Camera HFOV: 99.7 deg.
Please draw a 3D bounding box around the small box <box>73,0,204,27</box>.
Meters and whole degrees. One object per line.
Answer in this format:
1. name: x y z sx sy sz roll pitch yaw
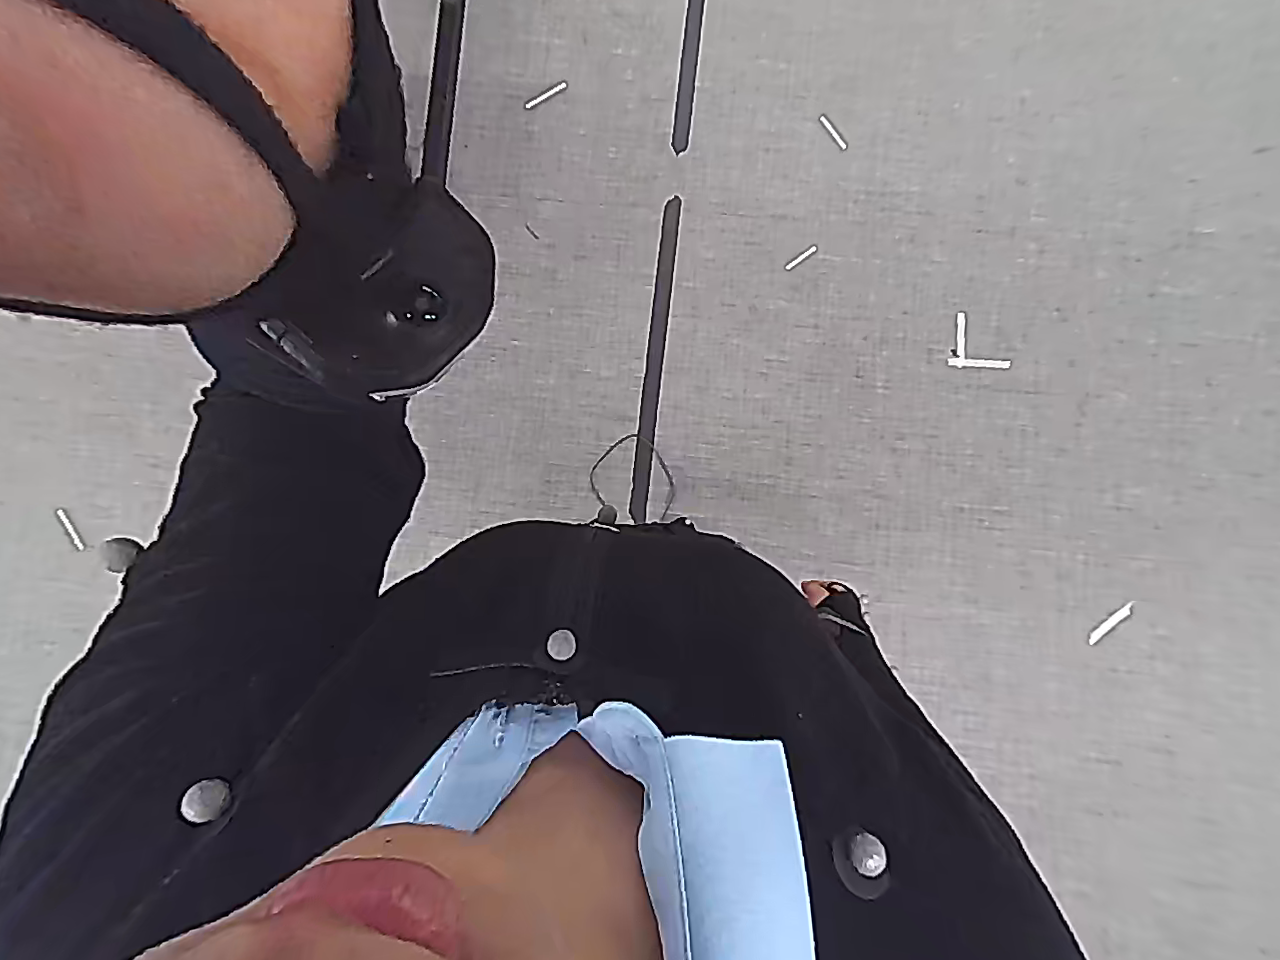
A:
1. small box: -0.769 -0.797 0.774 0.179 0.176 0.168 3 84 1
